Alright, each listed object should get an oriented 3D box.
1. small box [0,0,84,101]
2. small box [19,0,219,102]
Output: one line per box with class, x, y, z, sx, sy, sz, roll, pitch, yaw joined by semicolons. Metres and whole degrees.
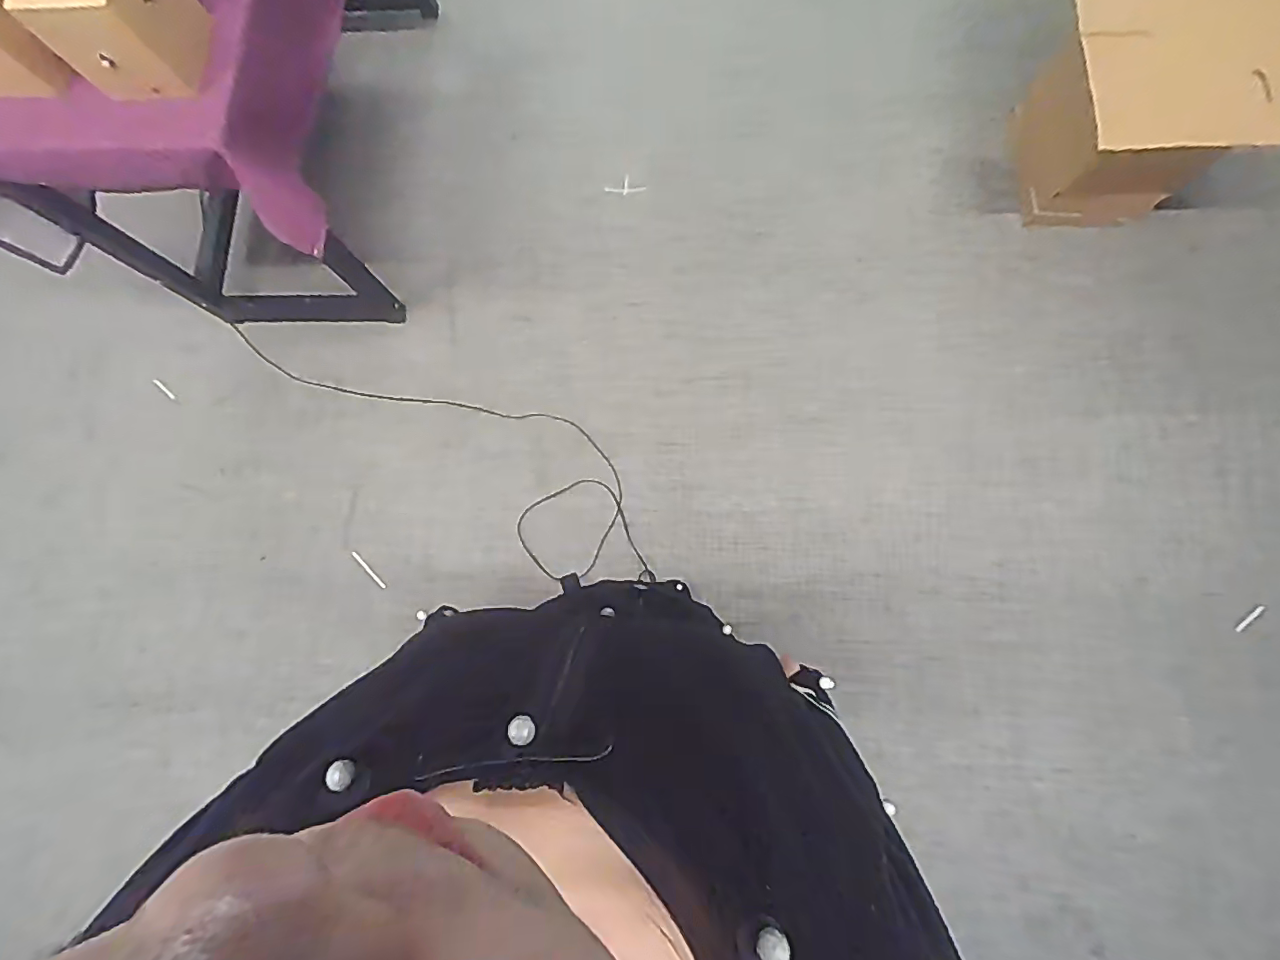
small box;-1.125;-0.794;0.935;0.179;0.176;0.168;2;80;4
small box;-0.867;-0.782;0.919;0.168;0.176;0.179;1;80;3
